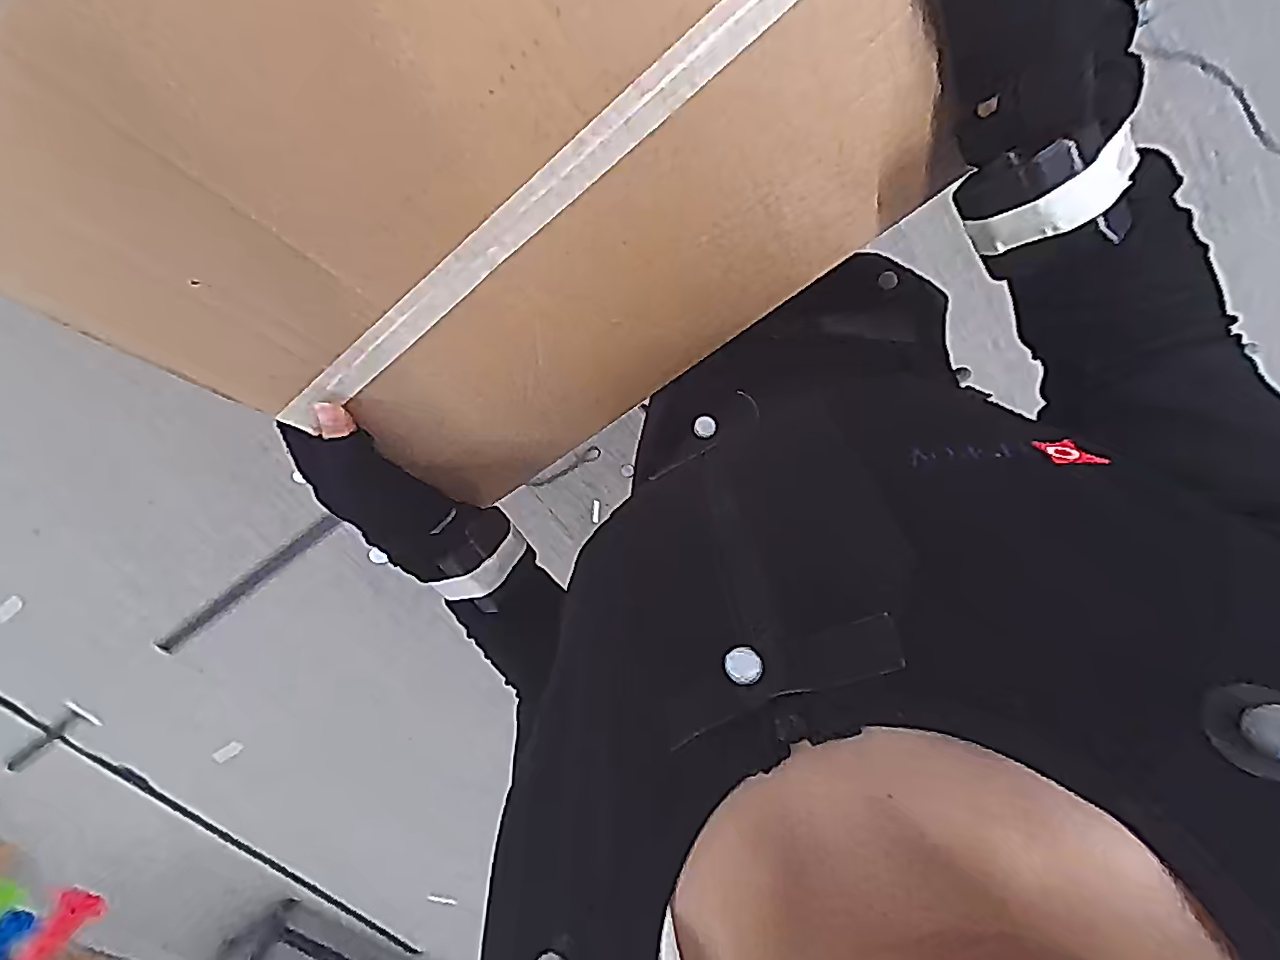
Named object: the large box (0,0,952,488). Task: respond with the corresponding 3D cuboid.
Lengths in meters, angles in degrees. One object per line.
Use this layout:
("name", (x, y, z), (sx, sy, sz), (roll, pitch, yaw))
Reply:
("large box", (-0.086, -0.263, 0.358), (0.408, 0.320, 0.320), (-31, 143, 18))
